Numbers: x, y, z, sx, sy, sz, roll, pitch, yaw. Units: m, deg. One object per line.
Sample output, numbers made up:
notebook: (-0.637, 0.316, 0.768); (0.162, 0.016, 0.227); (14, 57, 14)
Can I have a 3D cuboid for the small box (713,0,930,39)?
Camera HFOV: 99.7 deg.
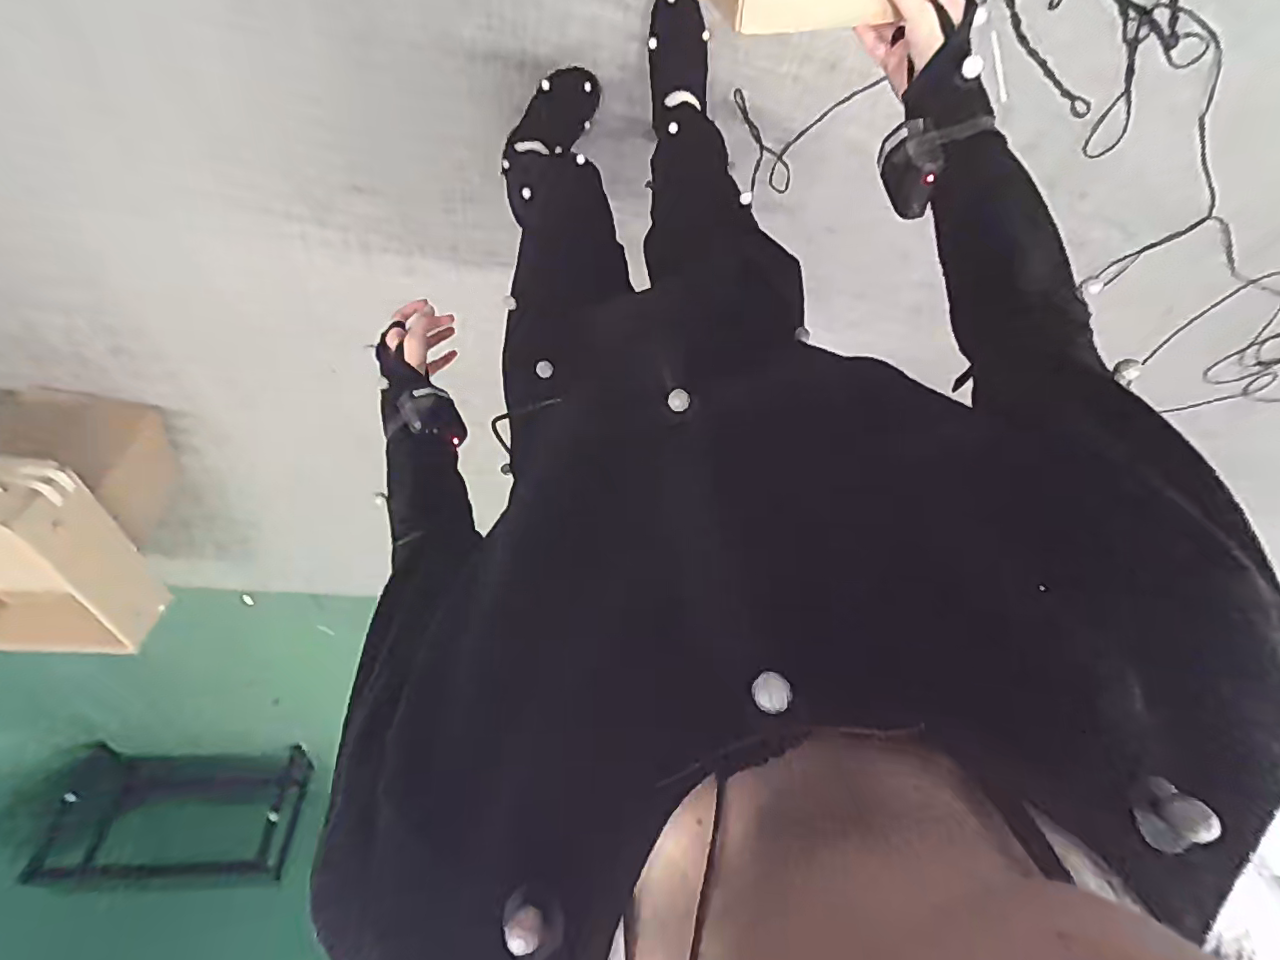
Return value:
small box: (0.144, -0.487, 0.433); (0.179, 0.176, 0.168); (-10, 149, -8)
